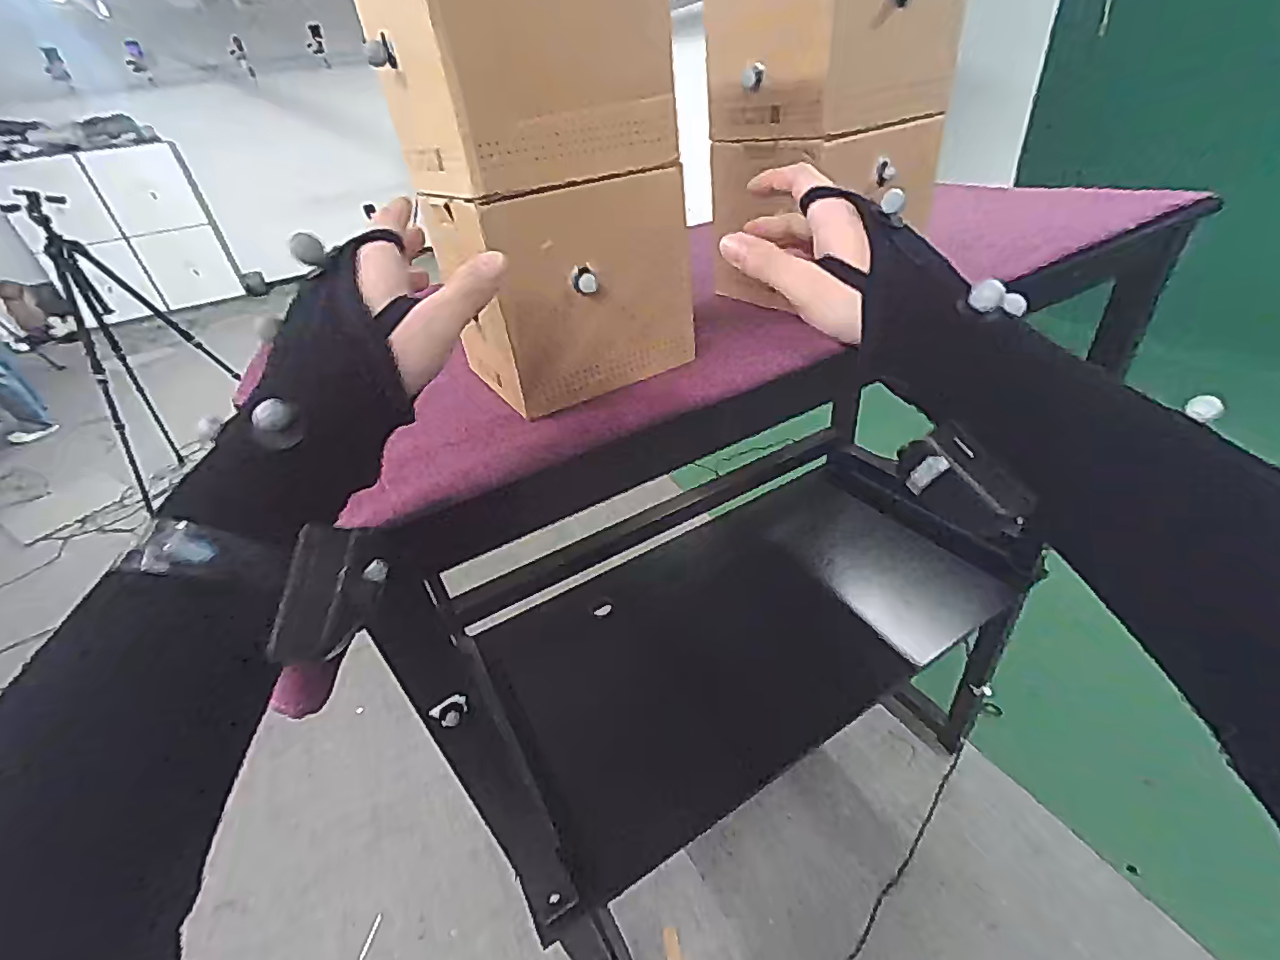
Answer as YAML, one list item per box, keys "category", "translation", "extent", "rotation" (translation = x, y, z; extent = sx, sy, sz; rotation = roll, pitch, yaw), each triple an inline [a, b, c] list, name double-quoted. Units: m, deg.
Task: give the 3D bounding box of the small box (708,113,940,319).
- category: "small box"
  translation: [0.198, -0.294, 0.608]
  extent: [0.179, 0.176, 0.168]
  rotation: [-25, 38, -22]

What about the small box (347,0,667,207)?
- category: "small box"
  translation: [-0.096, -0.311, 0.405]
  extent: [0.179, 0.176, 0.168]
  rotation: [-24, 37, -24]

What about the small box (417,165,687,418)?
- category: "small box"
  translation: [-0.073, -0.177, 0.495]
  extent: [0.179, 0.176, 0.168]
  rotation: [-25, 38, -22]

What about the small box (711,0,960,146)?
- category: "small box"
  translation: [0.177, -0.427, 0.515]
  extent: [0.179, 0.176, 0.168]
  rotation: [-26, 38, -21]
